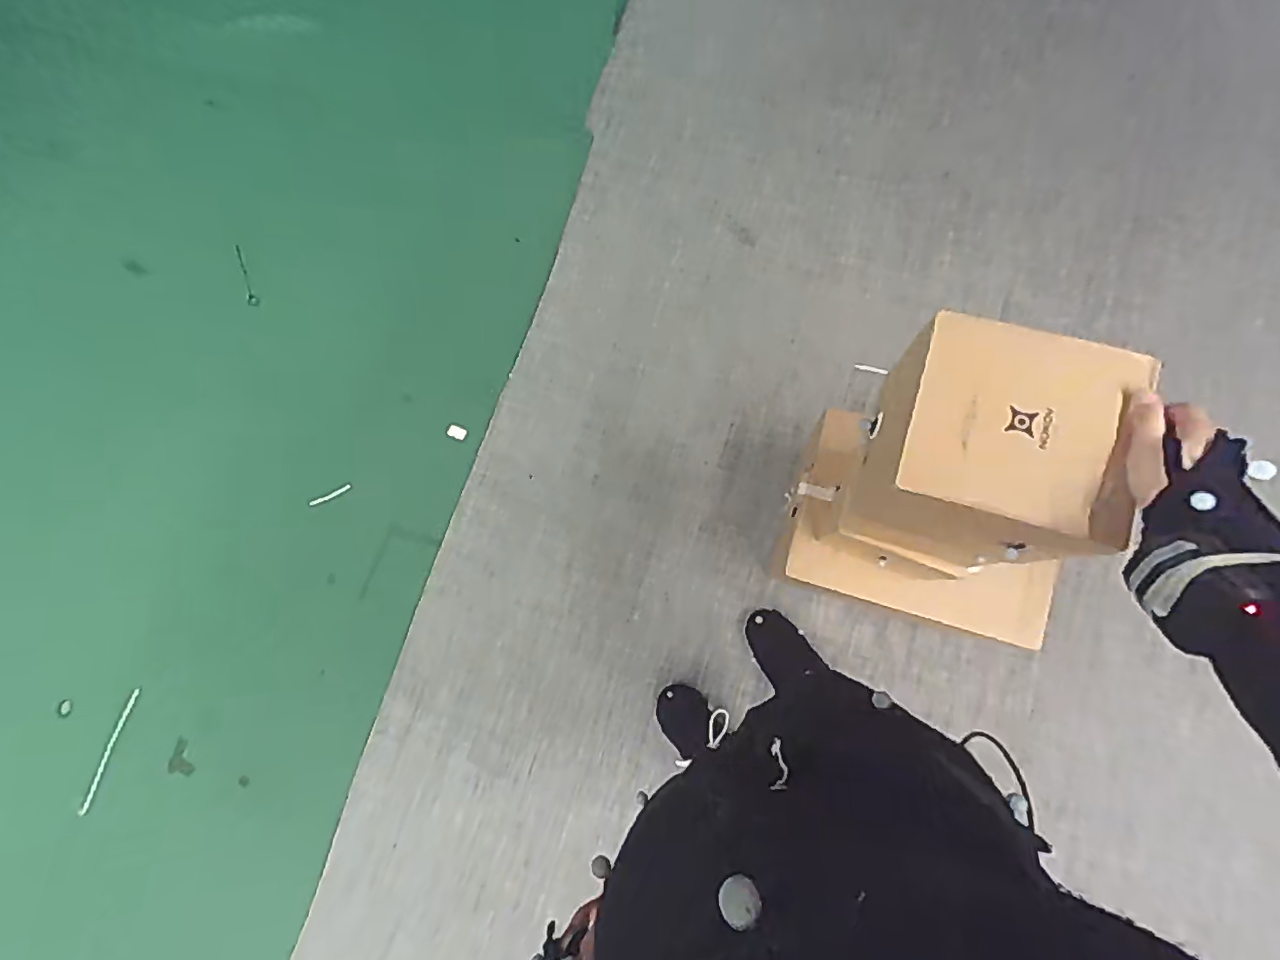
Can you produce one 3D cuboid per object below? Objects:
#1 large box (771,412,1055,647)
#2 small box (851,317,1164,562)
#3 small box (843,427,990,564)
[{"bbox_3d":[0.499,0.098,1.048,0.408,0.320,0.320,16,83,10],"label":"large box"},{"bbox_3d":[0.324,-0.025,0.513,0.179,0.176,0.168,16,80,11],"label":"small box"},{"bbox_3d":[0.369,0.002,0.668,0.179,0.176,0.168,17,81,11],"label":"small box"}]
